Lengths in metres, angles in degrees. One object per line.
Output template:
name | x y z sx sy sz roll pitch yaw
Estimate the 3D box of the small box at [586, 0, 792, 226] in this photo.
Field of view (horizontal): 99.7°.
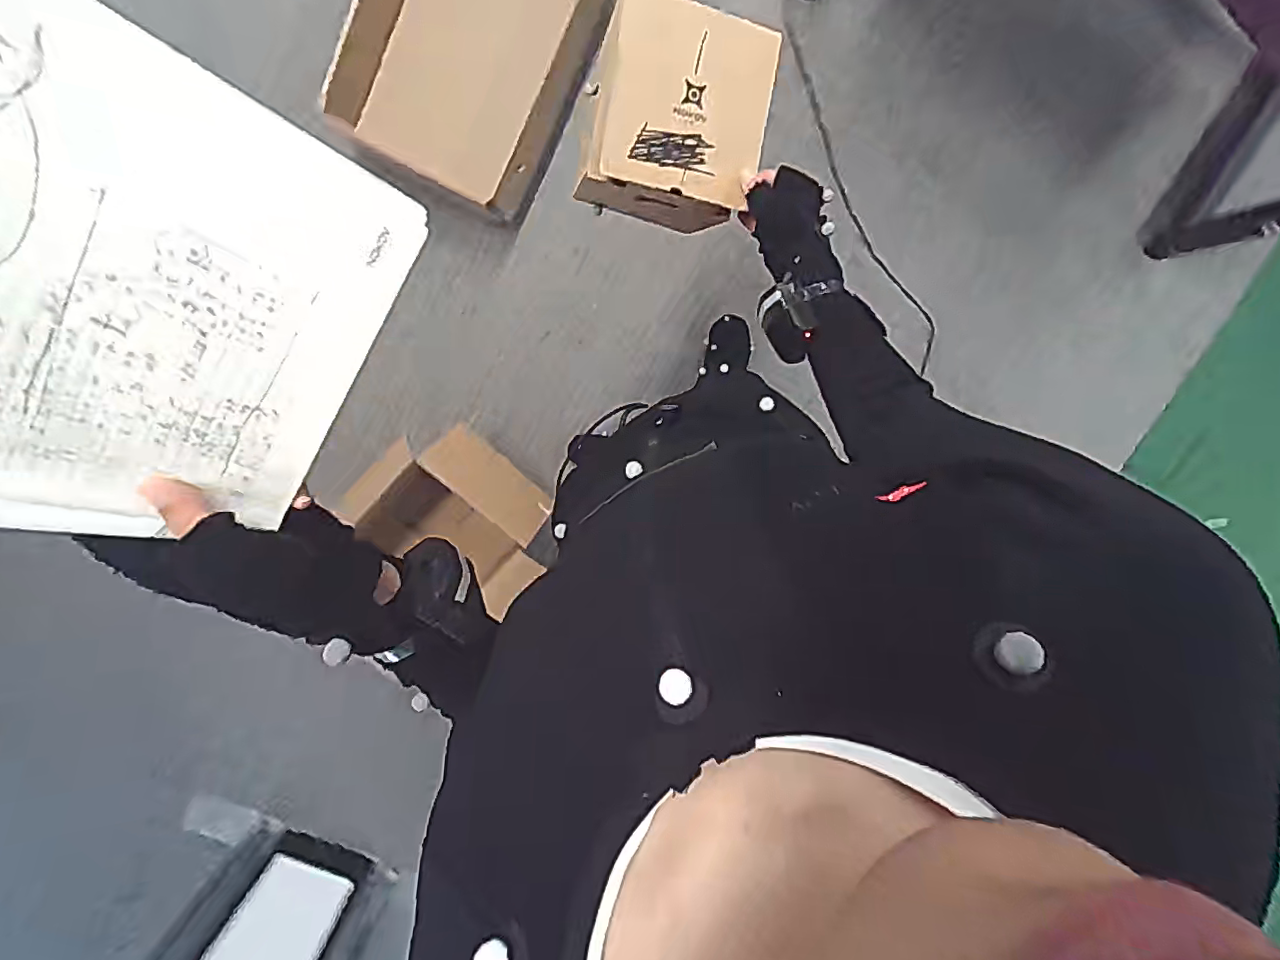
small box | 0.038 -0.407 0.616 0.168 0.176 0.179 11 107 -16
